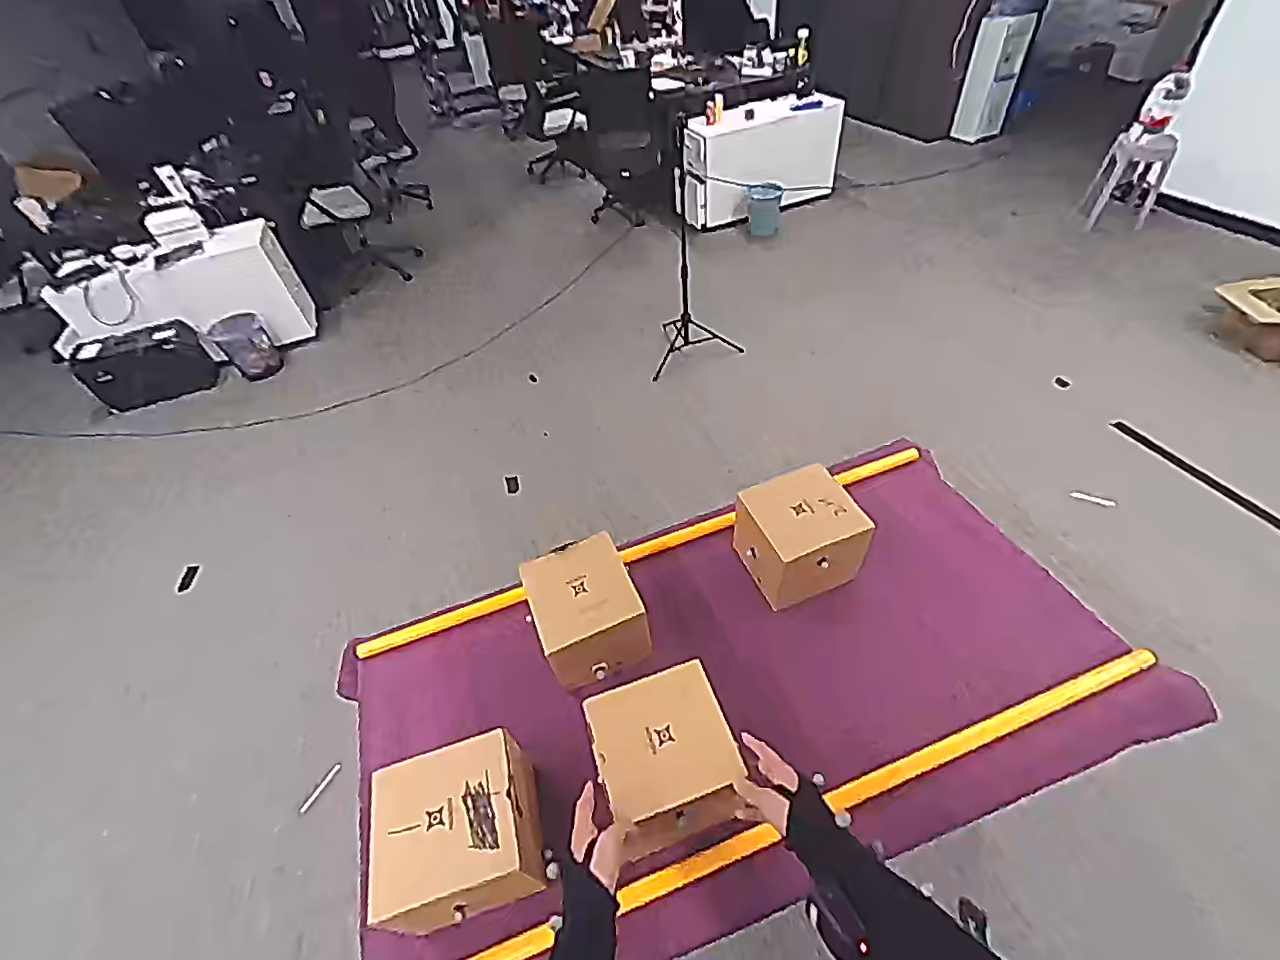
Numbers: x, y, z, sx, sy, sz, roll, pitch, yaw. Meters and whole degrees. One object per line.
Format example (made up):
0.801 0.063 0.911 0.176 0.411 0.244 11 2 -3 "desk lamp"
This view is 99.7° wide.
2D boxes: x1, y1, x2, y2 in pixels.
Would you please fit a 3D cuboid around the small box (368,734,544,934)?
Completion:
-0.233 0.469 0.718 0.179 0.176 0.168 -16 47 -8 "small box"

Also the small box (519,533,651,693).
-0.091 0.229 0.927 0.168 0.176 0.179 -21 49 -11 "small box"

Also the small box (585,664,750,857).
0.037 0.393 0.757 0.179 0.176 0.168 -18 46 -8 "small box"

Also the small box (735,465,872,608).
0.286 0.107 0.989 0.179 0.176 0.168 -19 49 -10 "small box"
